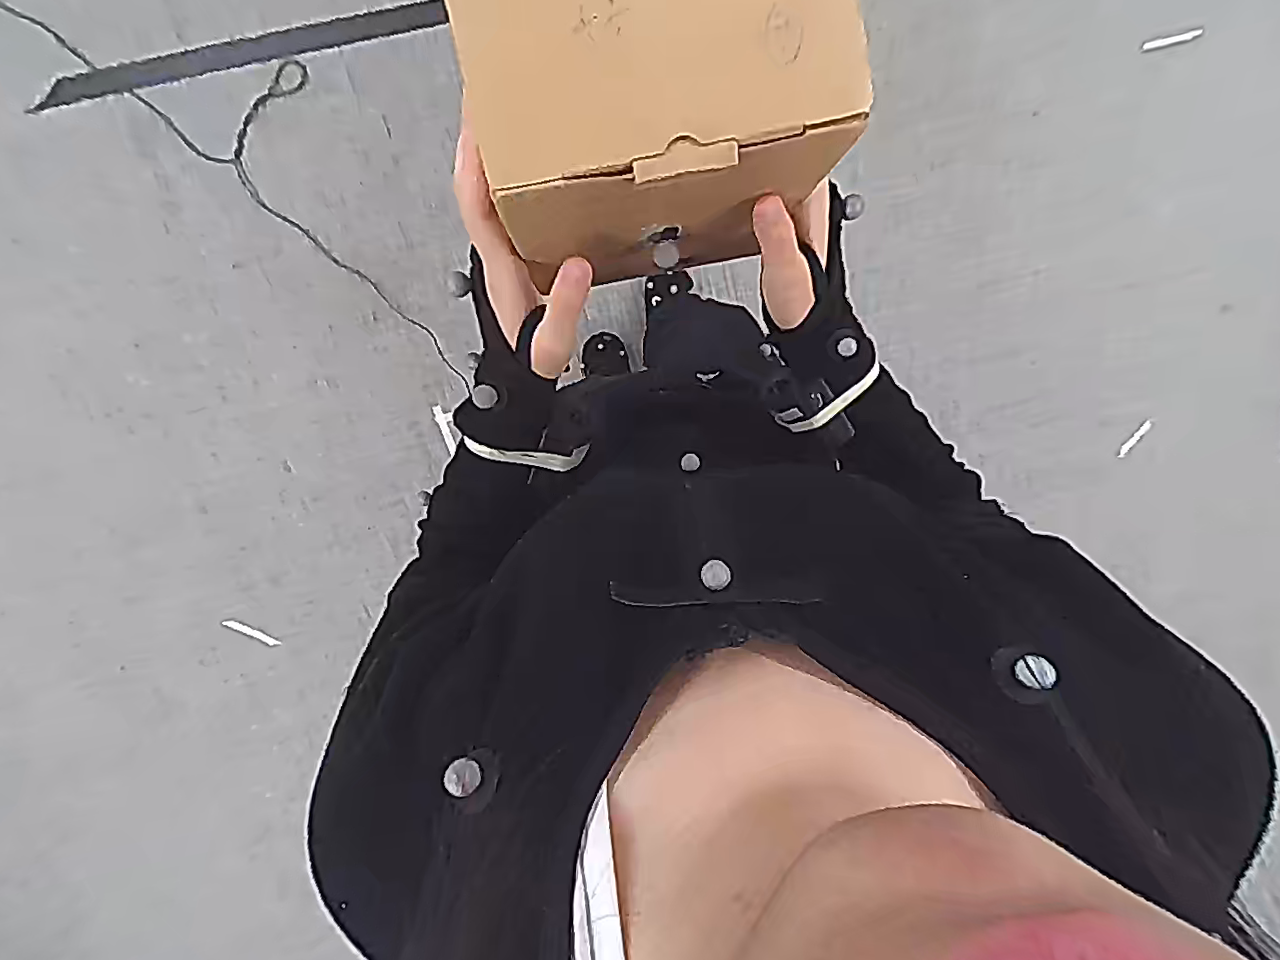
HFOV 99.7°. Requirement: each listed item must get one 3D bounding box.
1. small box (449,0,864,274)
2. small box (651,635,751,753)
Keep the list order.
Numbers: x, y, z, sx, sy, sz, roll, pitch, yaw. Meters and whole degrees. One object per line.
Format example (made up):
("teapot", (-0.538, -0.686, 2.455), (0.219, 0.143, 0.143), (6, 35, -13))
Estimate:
("small box", (-0.003, -0.227, 0.298), (0.168, 0.176, 0.179), (-12, 96, -2))
("small box", (0.134, 0.479, 1.237), (0.179, 0.176, 0.168), (-15, 104, 0))
